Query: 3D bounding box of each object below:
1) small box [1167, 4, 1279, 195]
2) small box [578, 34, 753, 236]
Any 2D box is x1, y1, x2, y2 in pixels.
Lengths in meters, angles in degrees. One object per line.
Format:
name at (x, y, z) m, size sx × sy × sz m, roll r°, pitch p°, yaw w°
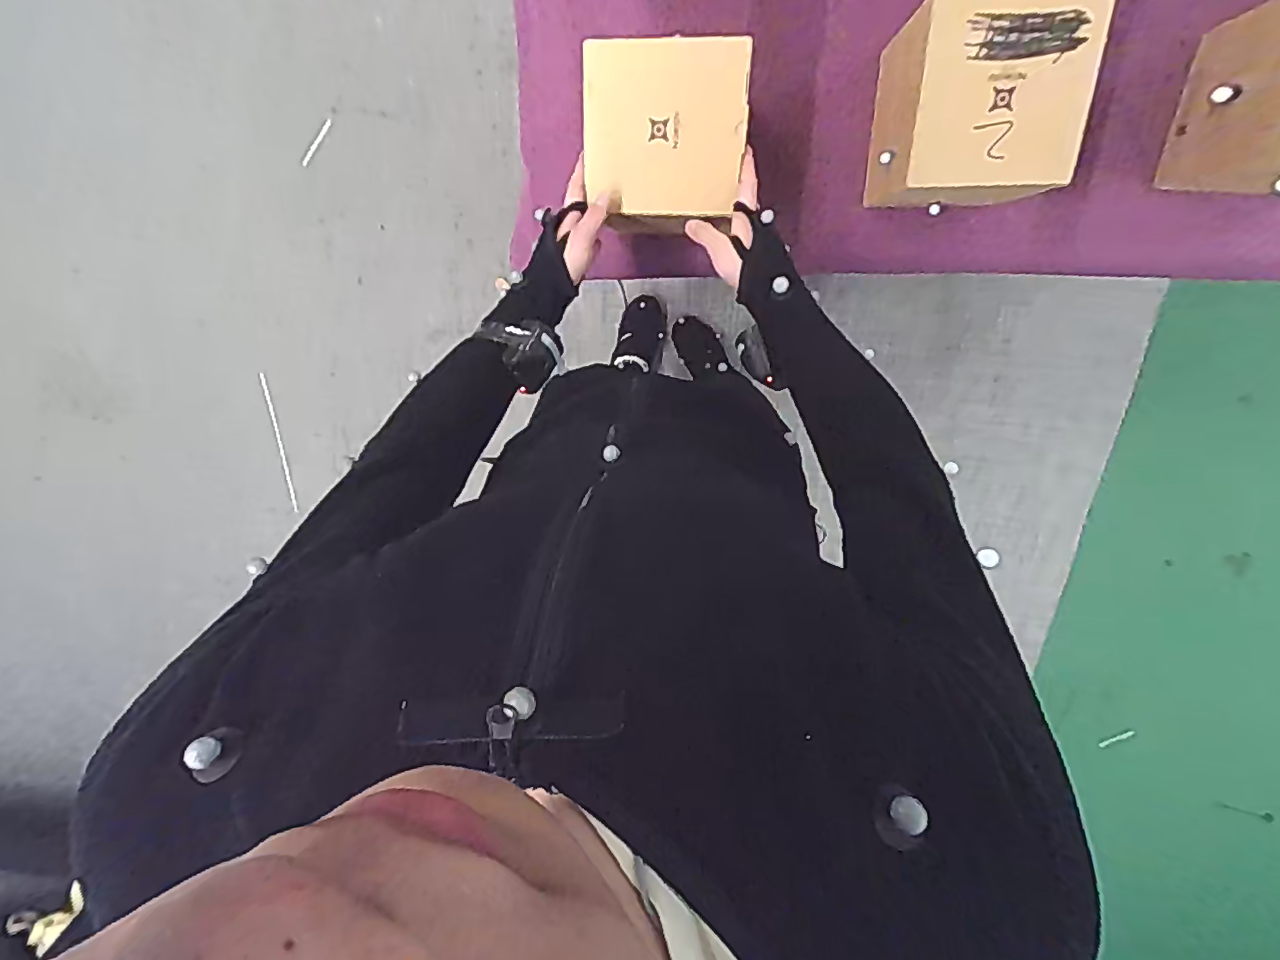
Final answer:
small box at (0.729, -0.403, 0.567) m, size 0.179 × 0.176 × 0.168 m, roll 5°, pitch 111°, yaw 6°
small box at (0.032, -0.388, 0.638) m, size 0.179 × 0.176 × 0.168 m, roll 4°, pitch 108°, yaw 6°
